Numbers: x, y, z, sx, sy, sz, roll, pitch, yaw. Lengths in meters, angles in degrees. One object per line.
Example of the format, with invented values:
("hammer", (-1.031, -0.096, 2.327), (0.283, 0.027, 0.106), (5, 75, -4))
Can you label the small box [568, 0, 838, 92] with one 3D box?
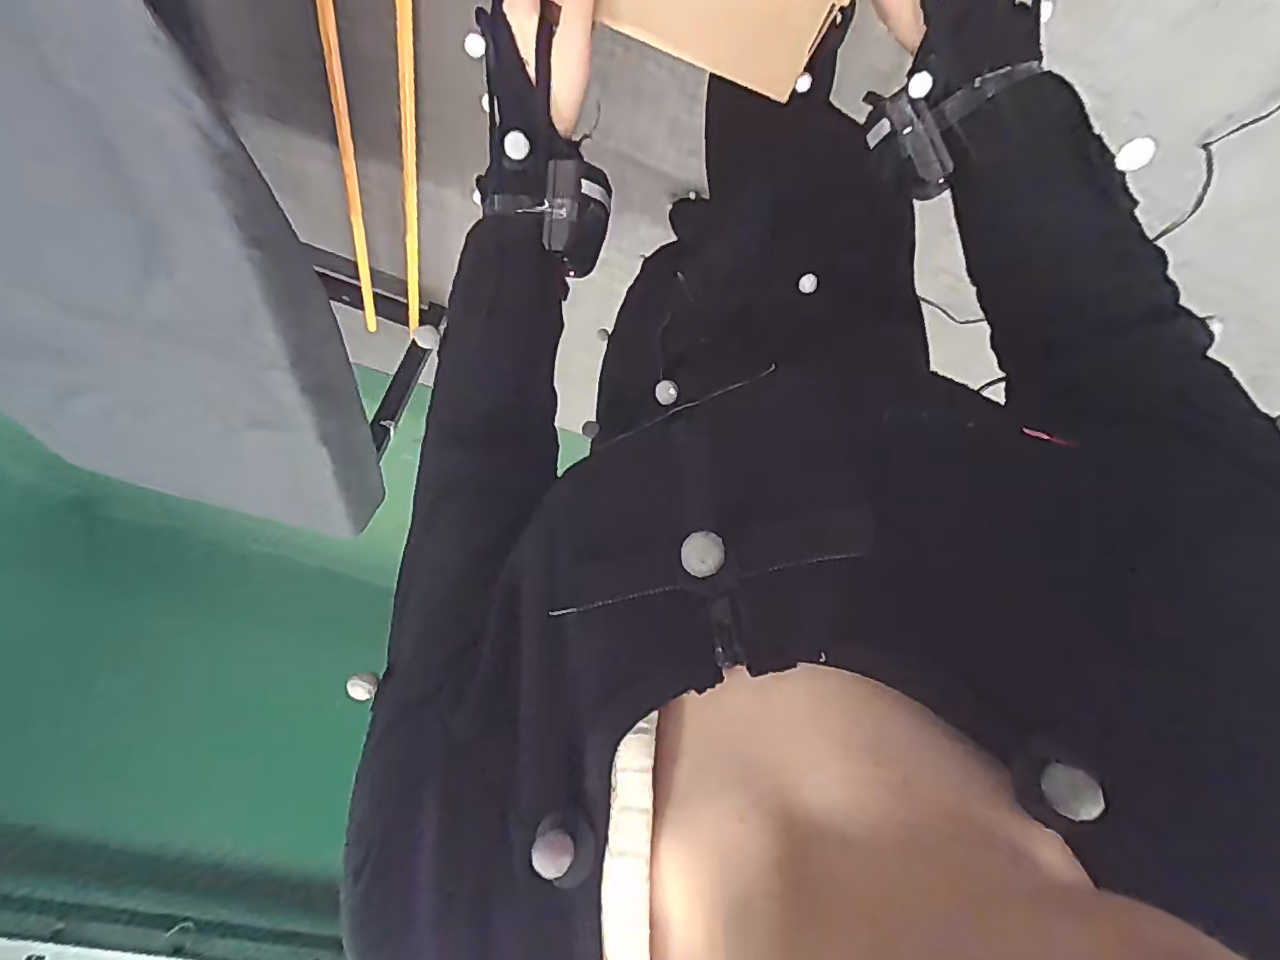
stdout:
("small box", (0.055, -0.389, 0.321), (0.179, 0.176, 0.168), (16, 151, -9))
